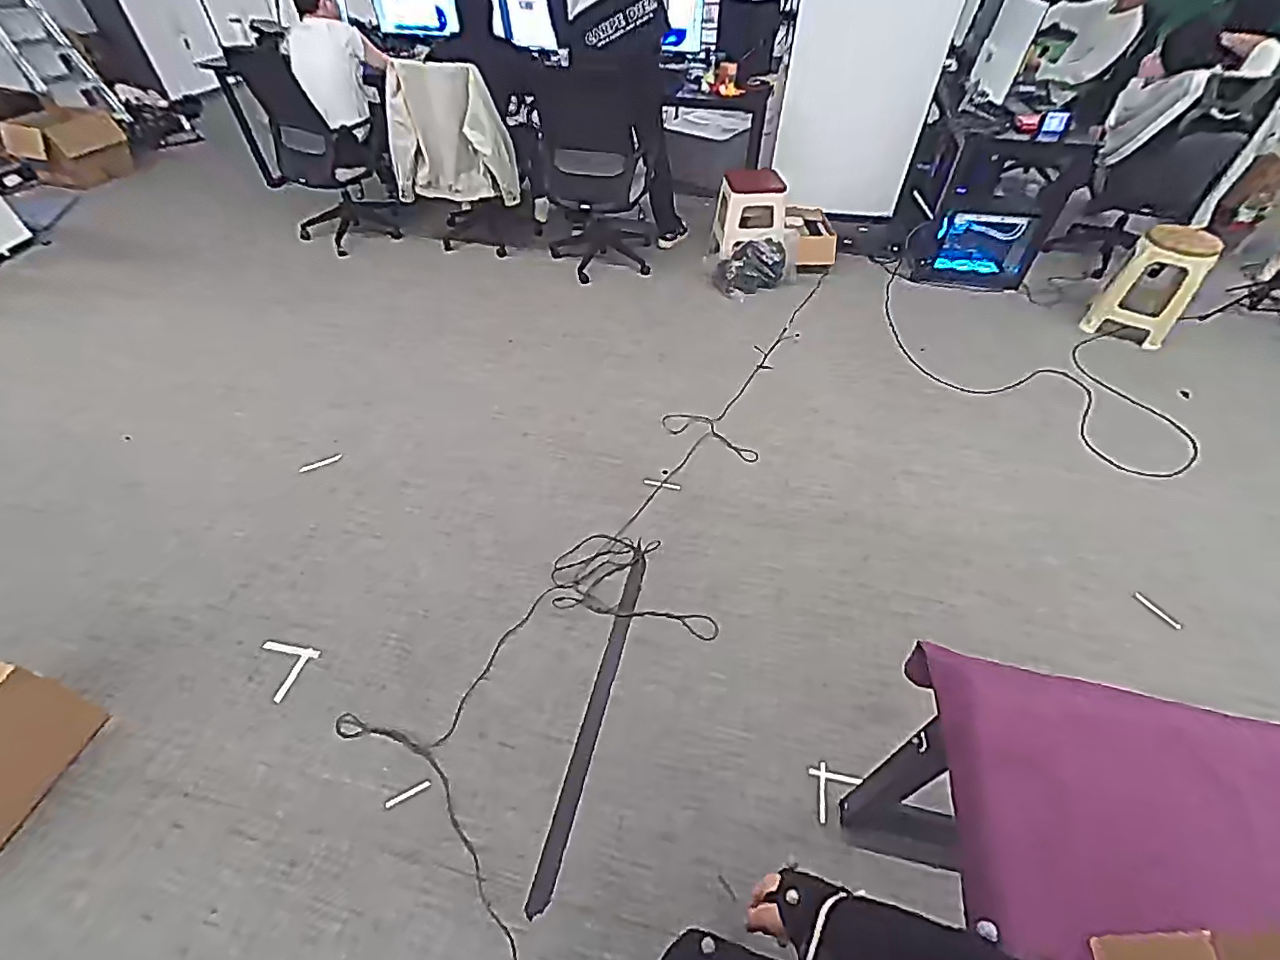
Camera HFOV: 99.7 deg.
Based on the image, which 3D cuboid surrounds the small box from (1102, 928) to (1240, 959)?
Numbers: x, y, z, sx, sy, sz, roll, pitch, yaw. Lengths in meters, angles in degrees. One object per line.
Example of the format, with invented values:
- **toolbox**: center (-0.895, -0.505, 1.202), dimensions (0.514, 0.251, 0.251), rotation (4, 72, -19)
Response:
- **small box**: center (0.552, 0.526, 0.470), dimensions (0.179, 0.176, 0.168), rotation (12, 48, 9)
